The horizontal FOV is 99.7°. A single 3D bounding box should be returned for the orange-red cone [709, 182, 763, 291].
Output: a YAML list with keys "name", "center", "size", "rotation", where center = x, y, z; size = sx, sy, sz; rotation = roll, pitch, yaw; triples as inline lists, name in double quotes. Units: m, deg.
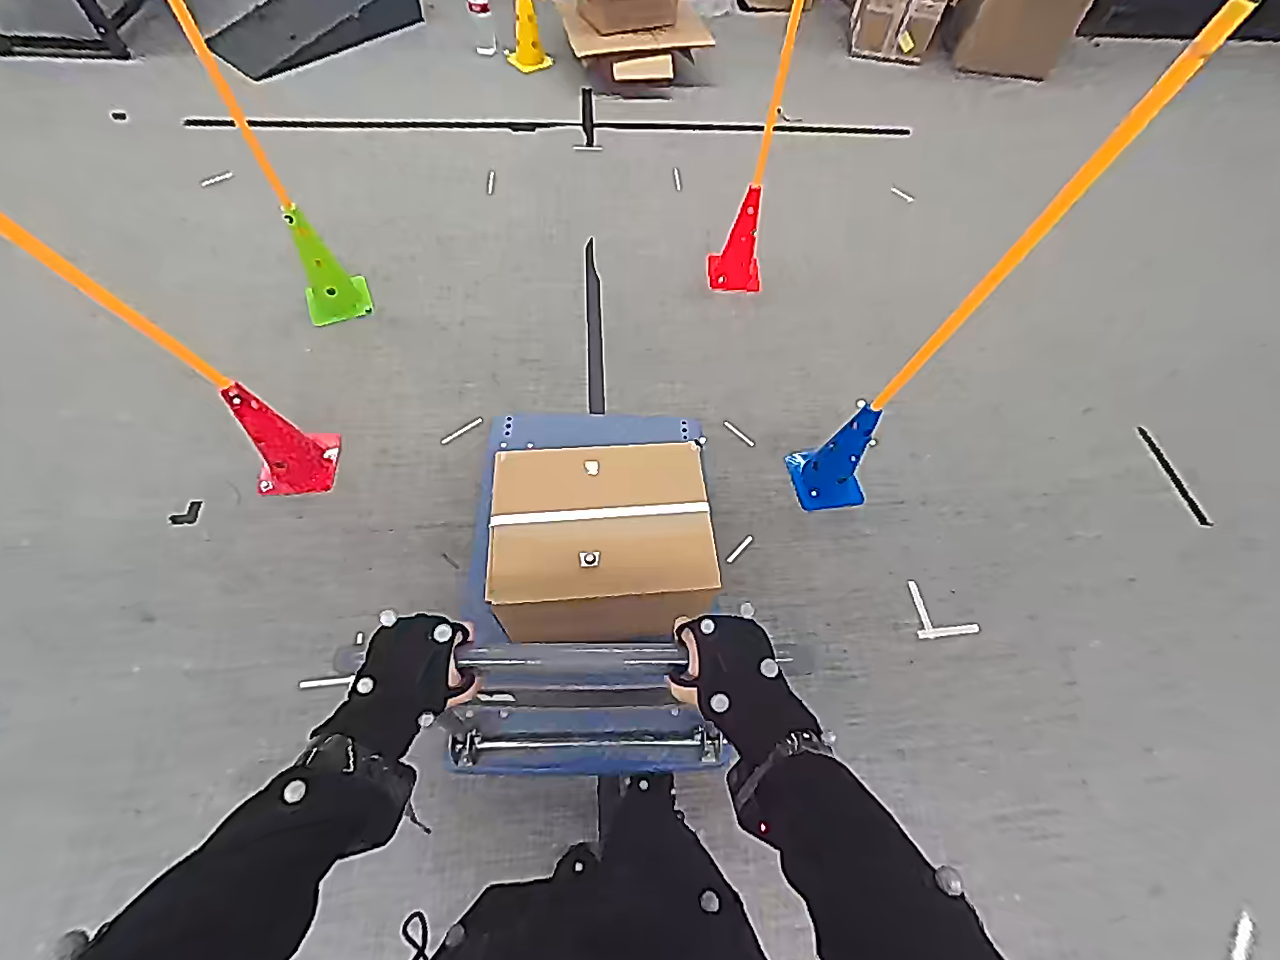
- name: "orange-red cone"
  center: [0.376, -0.881, 1.922]
  size: [0.199, 0.360, 0.198]
  rotation: [4, 61, -3]

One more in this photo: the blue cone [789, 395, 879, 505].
- name: "blue cone"
  center: [0.573, -0.095, 1.506]
  size: [0.193, 0.380, 0.192]
  rotation: [-6, 60, -7]
